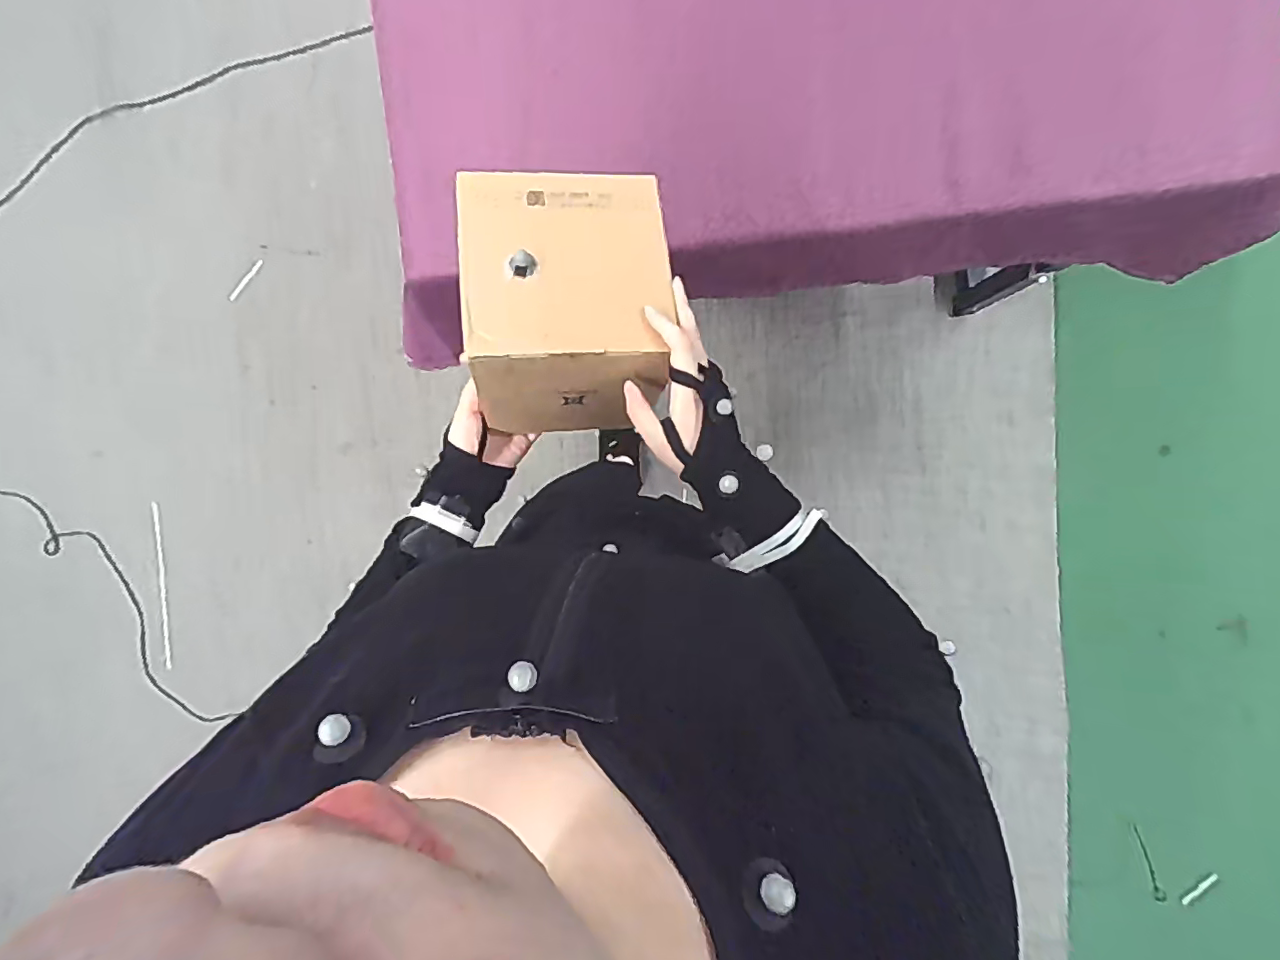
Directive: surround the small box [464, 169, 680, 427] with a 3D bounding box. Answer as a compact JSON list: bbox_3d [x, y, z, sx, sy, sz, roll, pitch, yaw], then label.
[{"bbox_3d":[-0.069,-0.161,0.511,0.168,0.179,0.176,-3,76,-10],"label":"small box"}]
